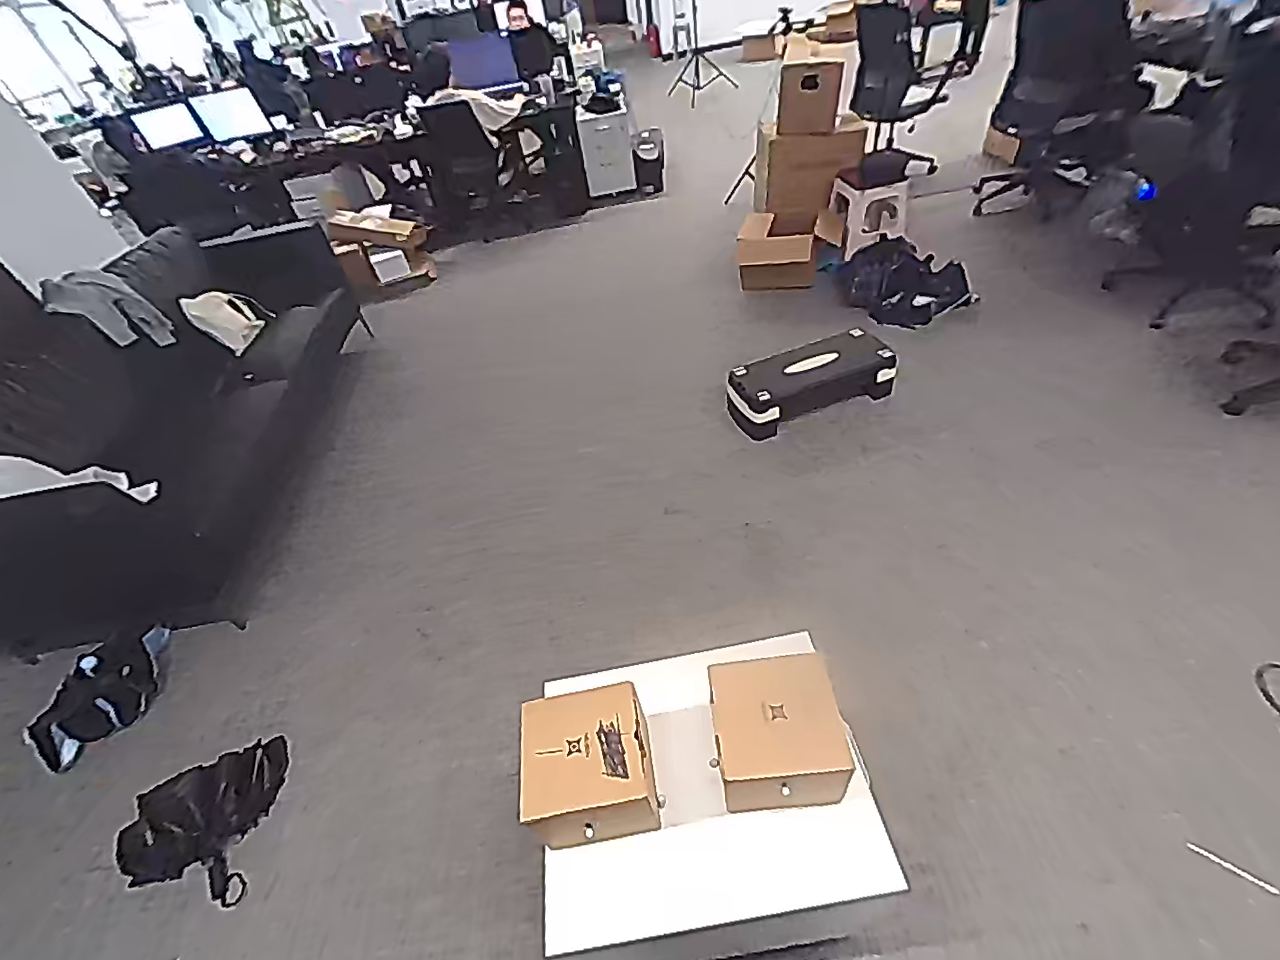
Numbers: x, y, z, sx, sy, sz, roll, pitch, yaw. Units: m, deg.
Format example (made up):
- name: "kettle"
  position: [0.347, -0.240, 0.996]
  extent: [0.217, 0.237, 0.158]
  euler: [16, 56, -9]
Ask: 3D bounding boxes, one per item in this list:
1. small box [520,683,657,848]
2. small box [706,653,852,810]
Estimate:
- name: "small box"
  position: [-0.073, 0.438, 0.828]
  extent: [0.179, 0.176, 0.168]
  euler: [-12, 44, 1]
- name: "small box"
  position: [0.203, 0.386, 0.823]
  extent: [0.179, 0.176, 0.168]
  euler: [-8, 46, 4]
